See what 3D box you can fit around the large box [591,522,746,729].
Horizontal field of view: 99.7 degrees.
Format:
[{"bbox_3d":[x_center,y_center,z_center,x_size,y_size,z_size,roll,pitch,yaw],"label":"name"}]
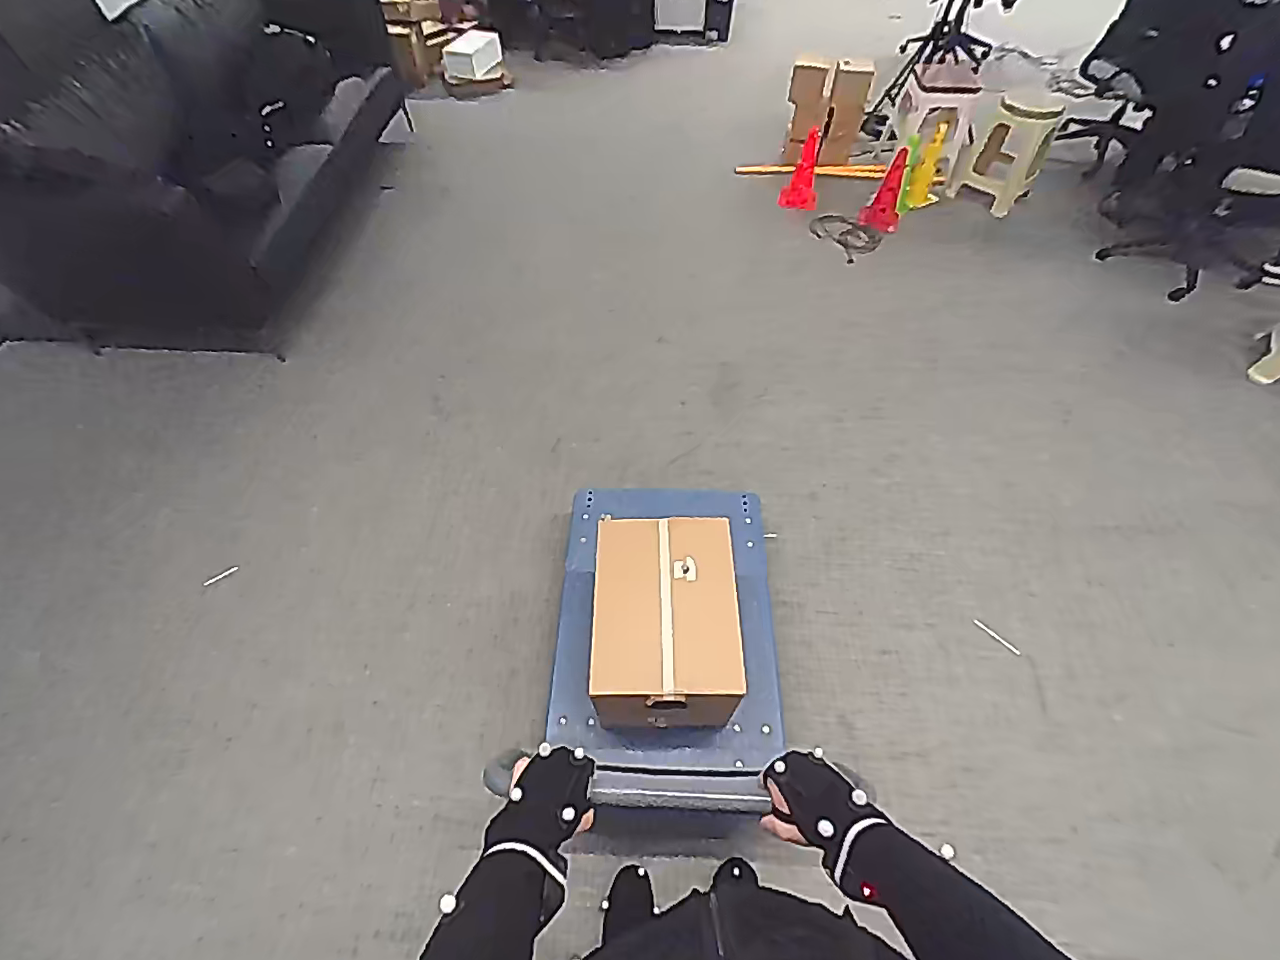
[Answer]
[{"bbox_3d":[0.059,0.354,1.304,0.320,0.320,0.408,-1,55,1],"label":"large box"}]
